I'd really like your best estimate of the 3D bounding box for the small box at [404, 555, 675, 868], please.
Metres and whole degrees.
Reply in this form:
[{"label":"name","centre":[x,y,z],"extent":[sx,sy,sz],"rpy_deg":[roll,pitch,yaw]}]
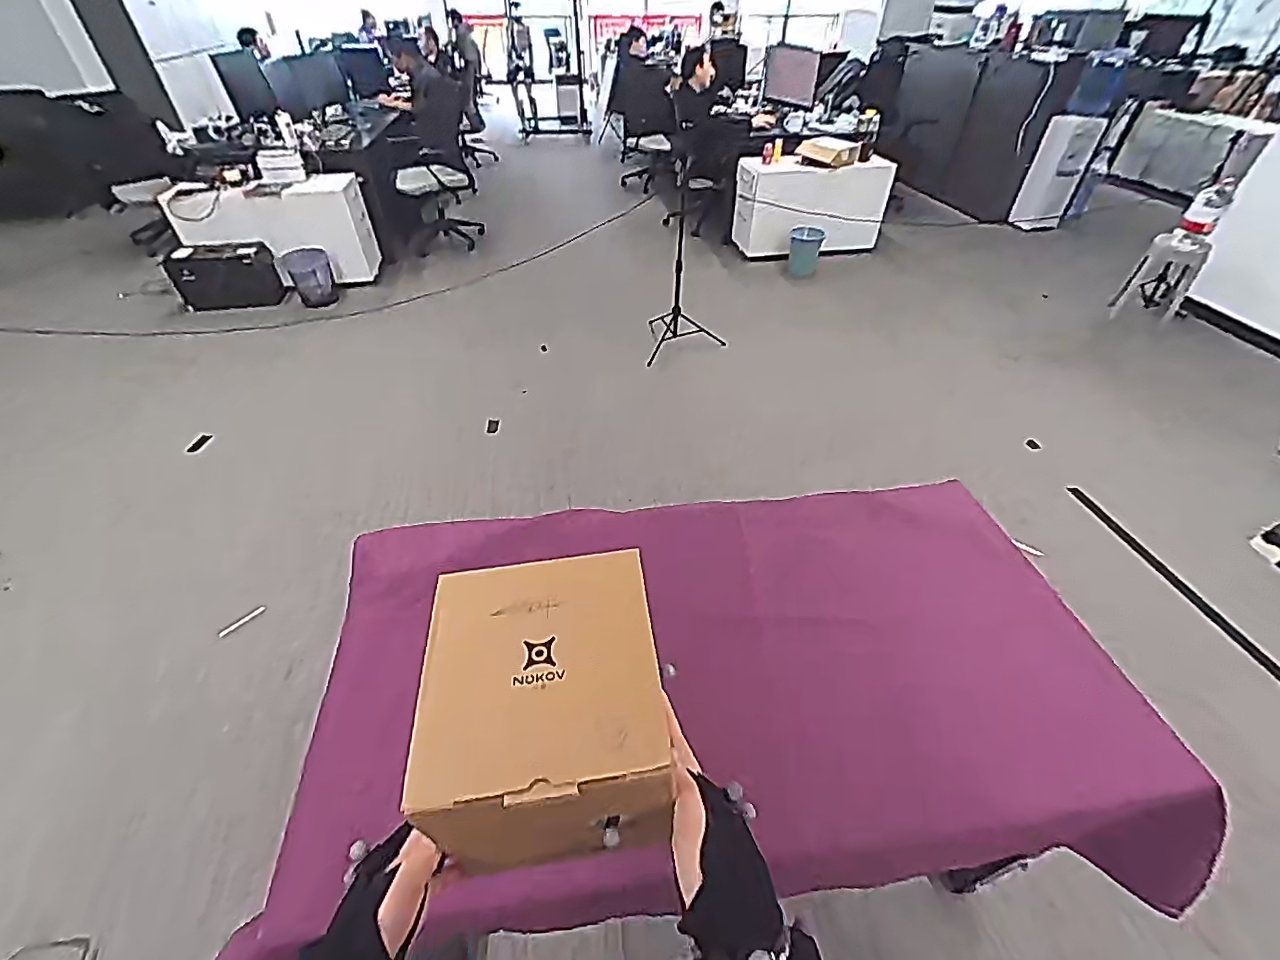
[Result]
[{"label":"small box","centre":[-0.064,0.187,0.433],"extent":[0.168,0.176,0.179],"rpy_deg":[-6,43,-4]}]
